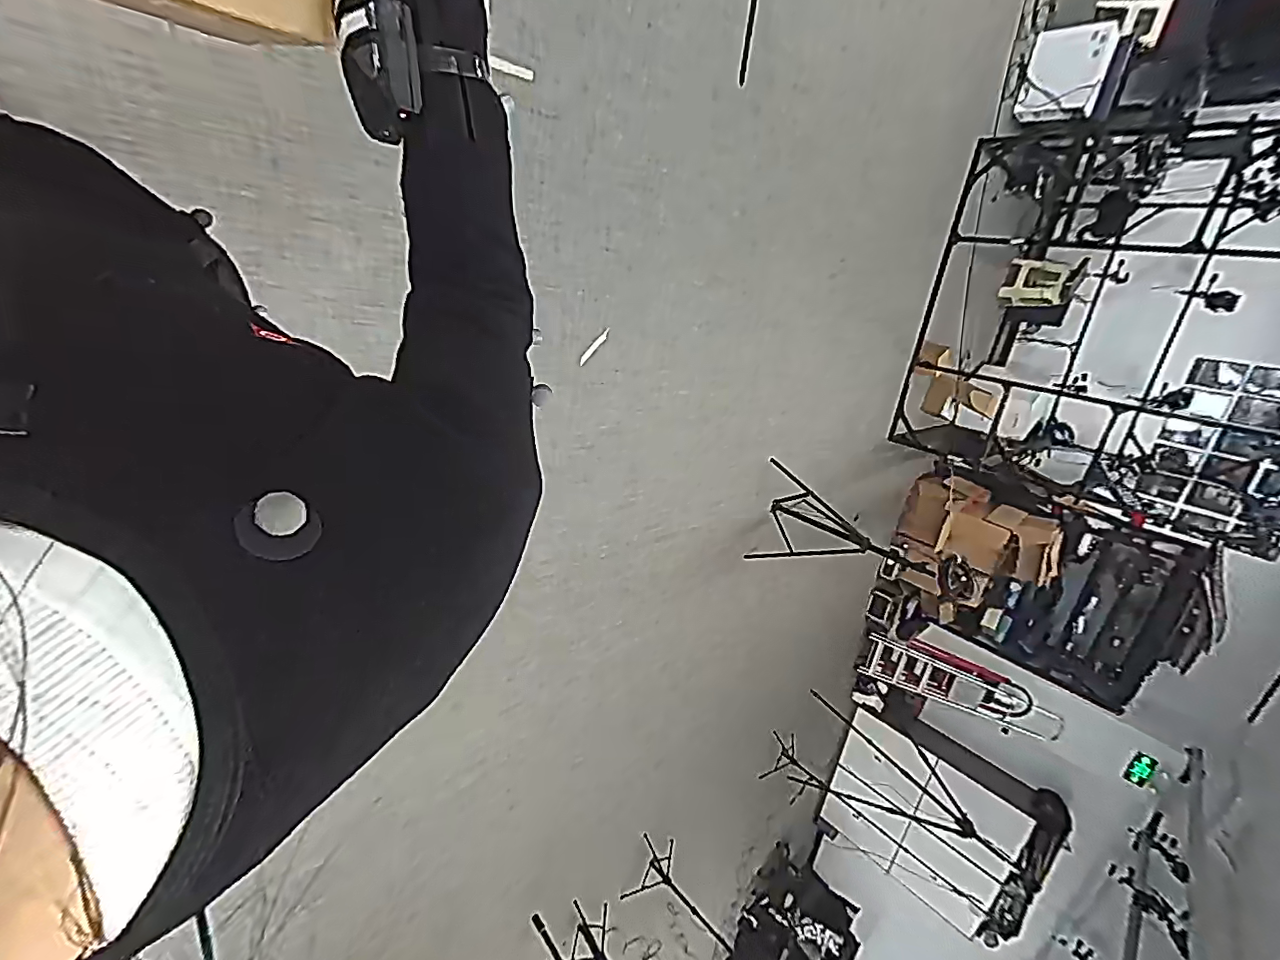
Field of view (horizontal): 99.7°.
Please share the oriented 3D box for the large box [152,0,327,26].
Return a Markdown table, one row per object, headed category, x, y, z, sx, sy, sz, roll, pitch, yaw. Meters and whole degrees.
| category | x | y | z | sx | sy | sz | roll | pitch | yaw |
| --- | --- | --- | --- | --- | --- | --- | --- | --- | --- |
| large box | -0.405 | -0.462 | 0.236 | 0.408 | 0.320 | 0.320 | -11 | 128 | -41 |
